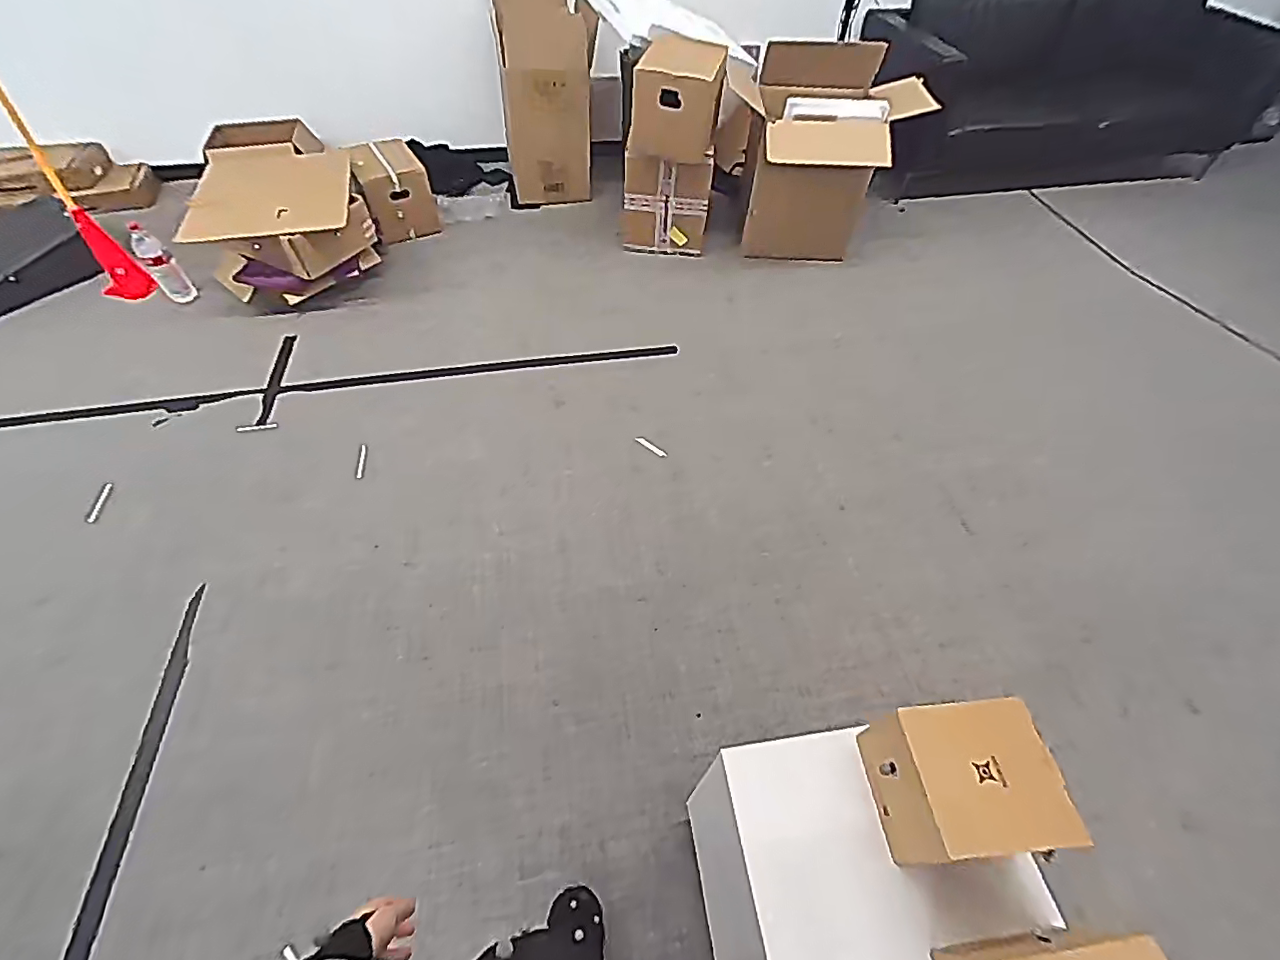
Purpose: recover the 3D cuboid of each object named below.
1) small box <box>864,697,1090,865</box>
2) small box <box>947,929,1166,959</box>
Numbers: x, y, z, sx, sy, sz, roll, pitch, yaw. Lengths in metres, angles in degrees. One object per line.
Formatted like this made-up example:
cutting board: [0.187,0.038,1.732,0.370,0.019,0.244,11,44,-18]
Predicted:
small box: [0.423,0.405,0.724,0.179,0.176,0.168,-3,53,-4]
small box: [0.462,0.597,0.575,0.179,0.176,0.168,-5,52,-6]
